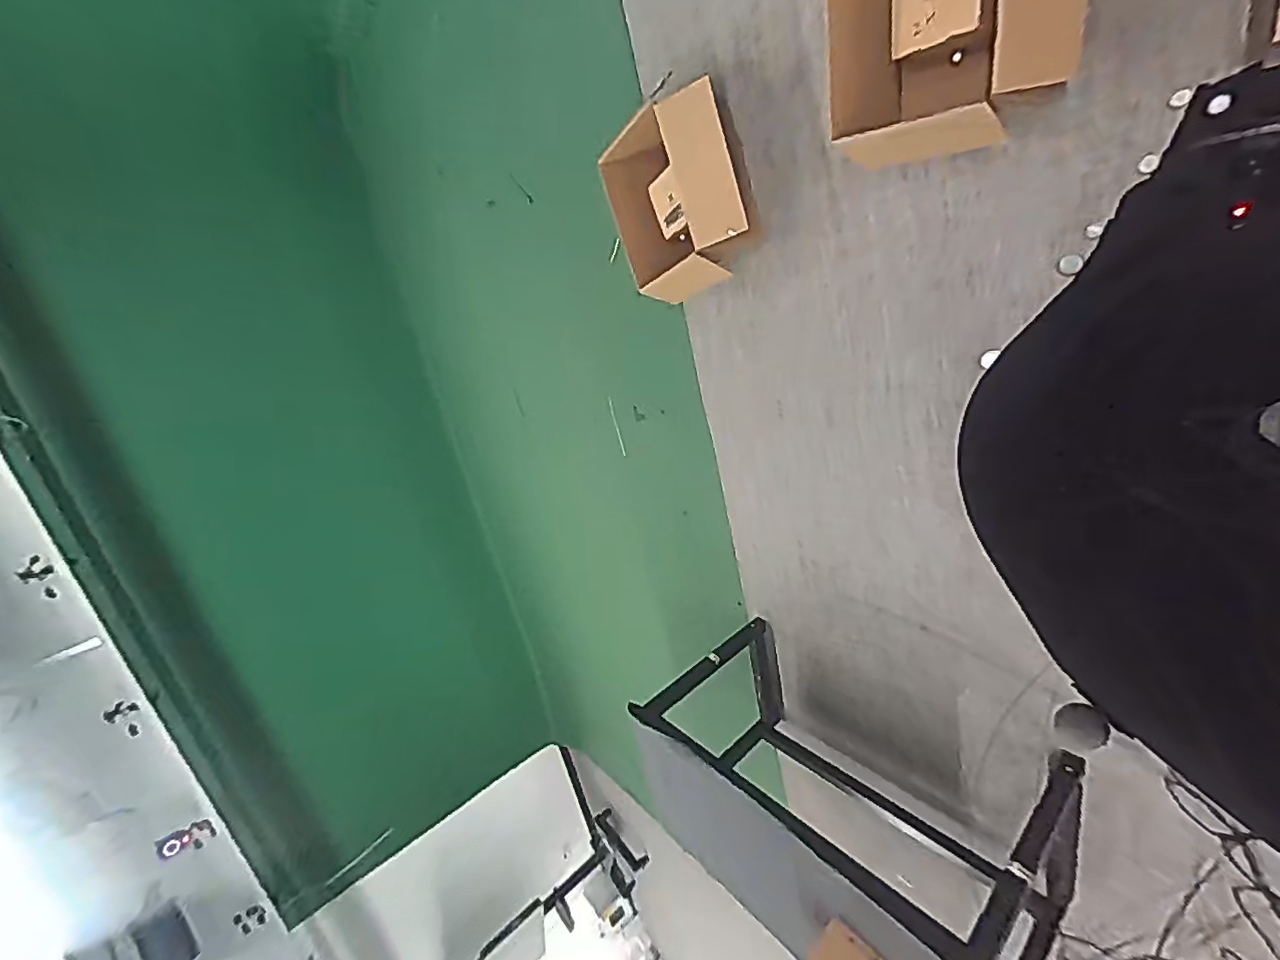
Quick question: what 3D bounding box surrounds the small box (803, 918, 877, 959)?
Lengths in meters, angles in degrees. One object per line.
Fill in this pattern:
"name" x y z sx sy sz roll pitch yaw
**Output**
"small box" 0.513 1.271 1.359 0.168 0.176 0.179 18 126 49
